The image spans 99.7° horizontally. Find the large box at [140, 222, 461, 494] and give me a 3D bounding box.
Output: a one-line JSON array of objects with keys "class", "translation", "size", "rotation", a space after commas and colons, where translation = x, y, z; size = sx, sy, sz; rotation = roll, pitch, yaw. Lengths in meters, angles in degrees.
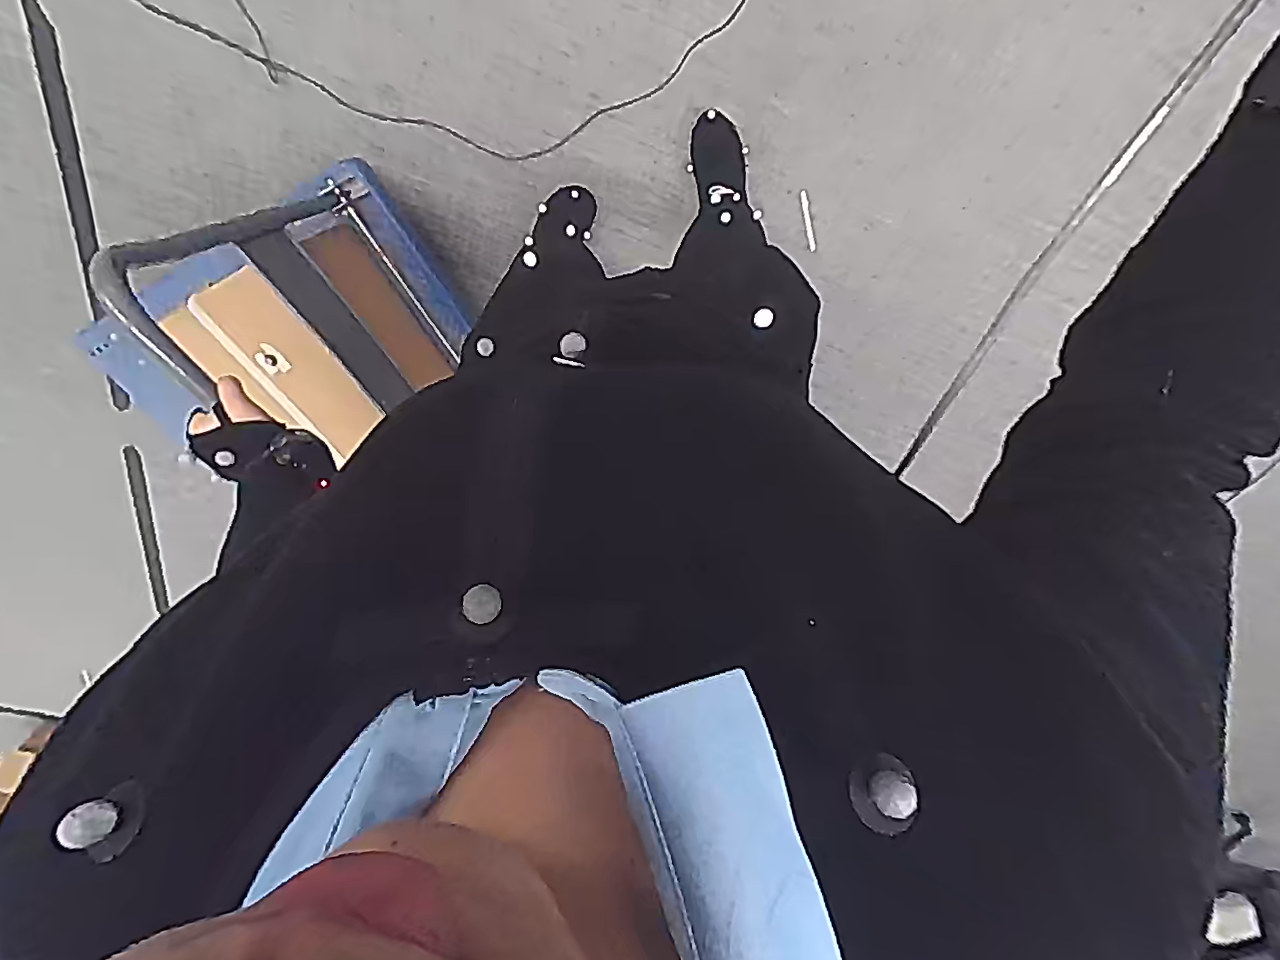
[{"class": "large box", "translation": [-0.651, -0.250, 1.126], "size": [0.320, 0.320, 0.408], "rotation": [-21, 122, 14]}]
